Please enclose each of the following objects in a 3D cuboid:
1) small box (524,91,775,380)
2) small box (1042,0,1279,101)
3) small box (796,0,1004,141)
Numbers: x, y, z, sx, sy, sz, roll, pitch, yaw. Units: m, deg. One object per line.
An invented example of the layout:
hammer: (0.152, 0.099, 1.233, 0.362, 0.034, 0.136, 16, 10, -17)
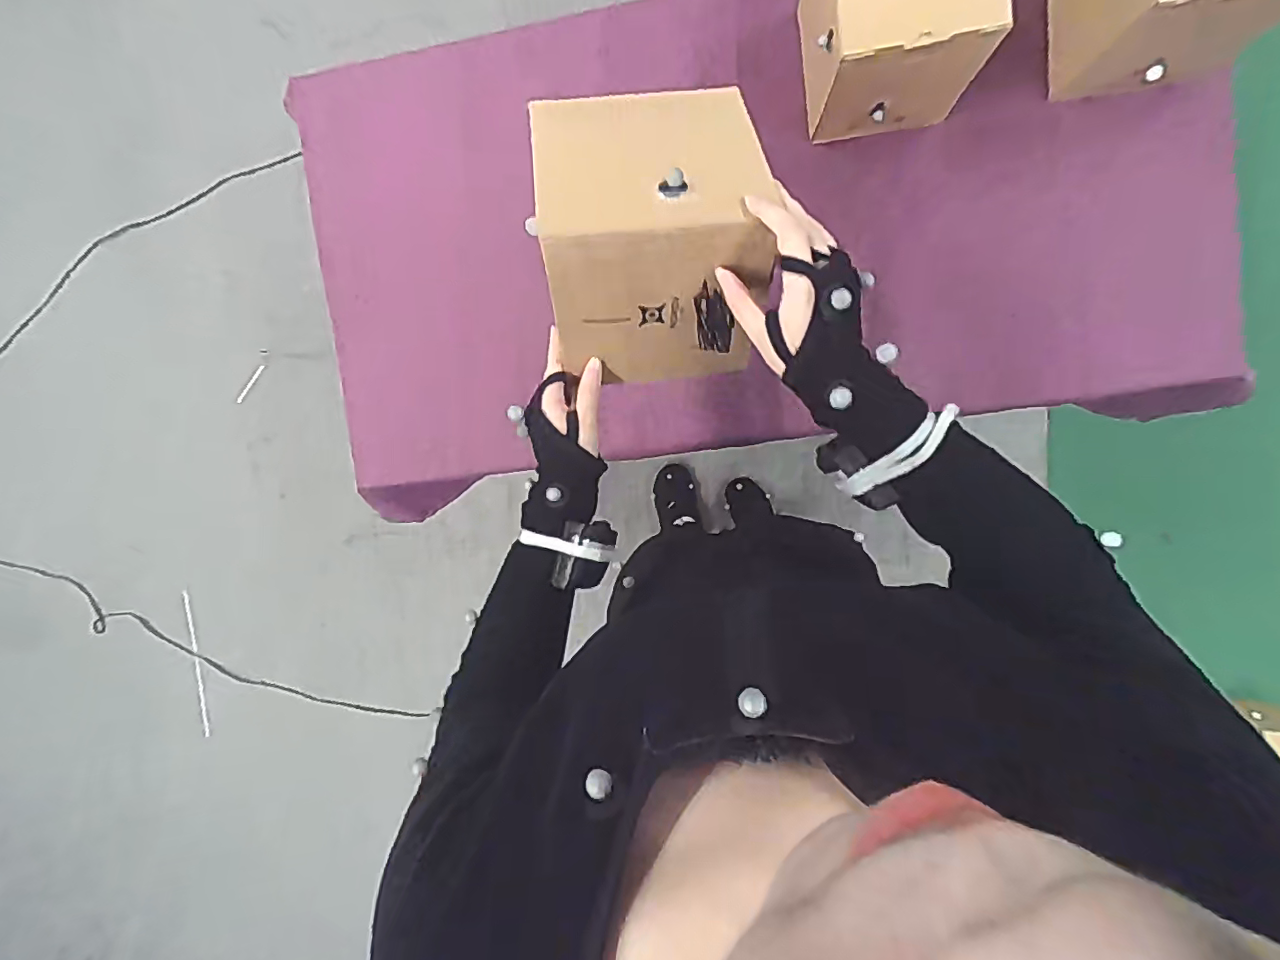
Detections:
small box: (-0.001, -0.213, 0.480, 0.179, 0.168, 0.176, -6, 62, -3)
small box: (0.566, -0.554, 0.578, 0.168, 0.176, 0.179, -4, 97, 8)
small box: (0.281, -0.532, 0.620, 0.168, 0.176, 0.179, -6, 95, 7)
